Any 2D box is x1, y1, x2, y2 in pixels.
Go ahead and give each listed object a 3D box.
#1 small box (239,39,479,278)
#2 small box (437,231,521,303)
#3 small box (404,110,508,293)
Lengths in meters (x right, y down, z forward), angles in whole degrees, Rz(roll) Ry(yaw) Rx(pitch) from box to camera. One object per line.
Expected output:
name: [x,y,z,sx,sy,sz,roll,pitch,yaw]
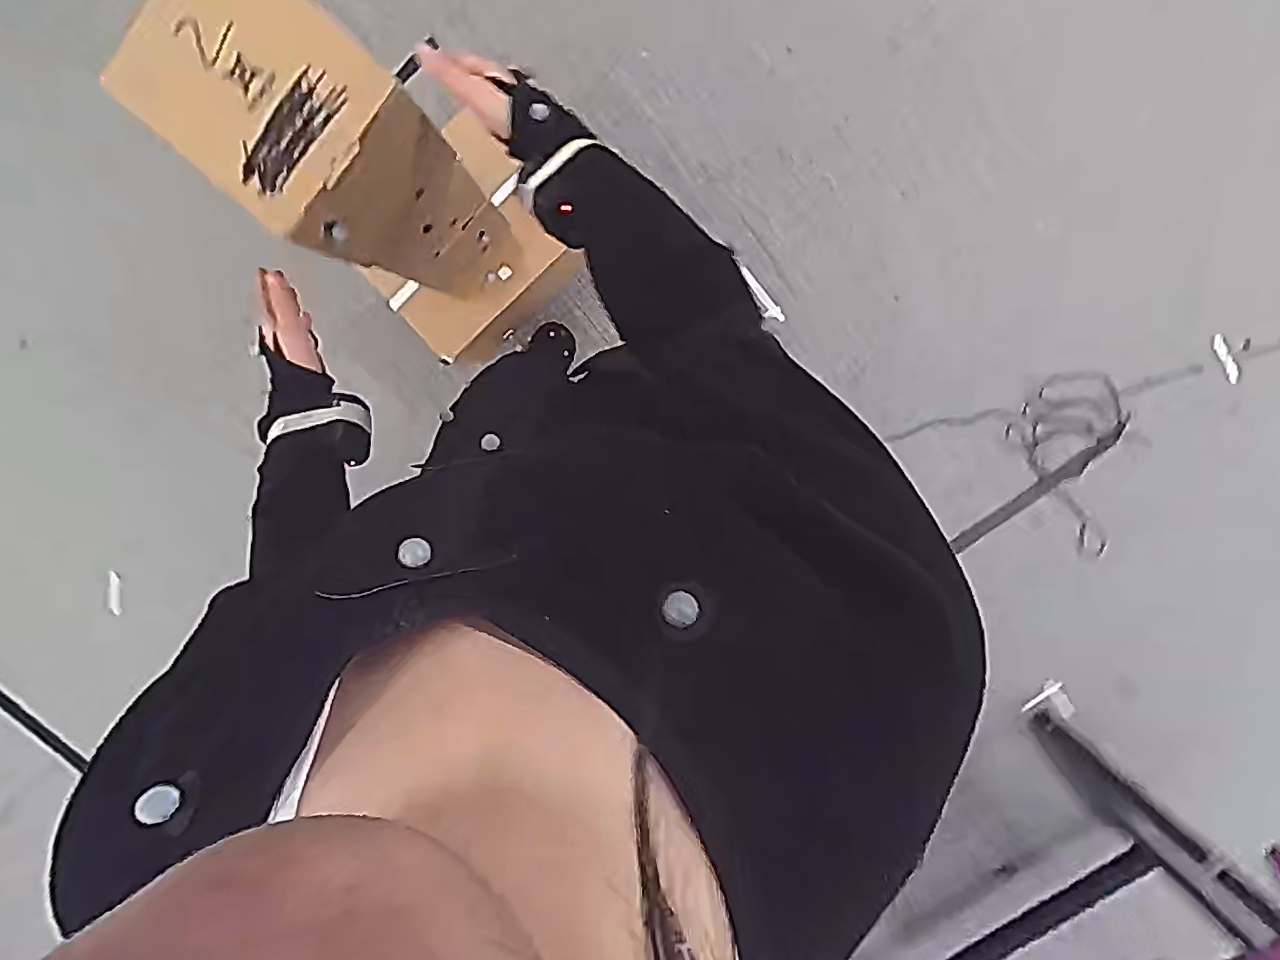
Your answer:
small box: [-0.329,-0.375,0.678,0.179,0.176,0.168,41,97,-11]
small box: [-0.345,-0.449,0.995,0.168,0.176,0.179,-42,102,7]
small box: [-0.331,-0.412,0.838,0.168,0.176,0.179,-43,100,6]
